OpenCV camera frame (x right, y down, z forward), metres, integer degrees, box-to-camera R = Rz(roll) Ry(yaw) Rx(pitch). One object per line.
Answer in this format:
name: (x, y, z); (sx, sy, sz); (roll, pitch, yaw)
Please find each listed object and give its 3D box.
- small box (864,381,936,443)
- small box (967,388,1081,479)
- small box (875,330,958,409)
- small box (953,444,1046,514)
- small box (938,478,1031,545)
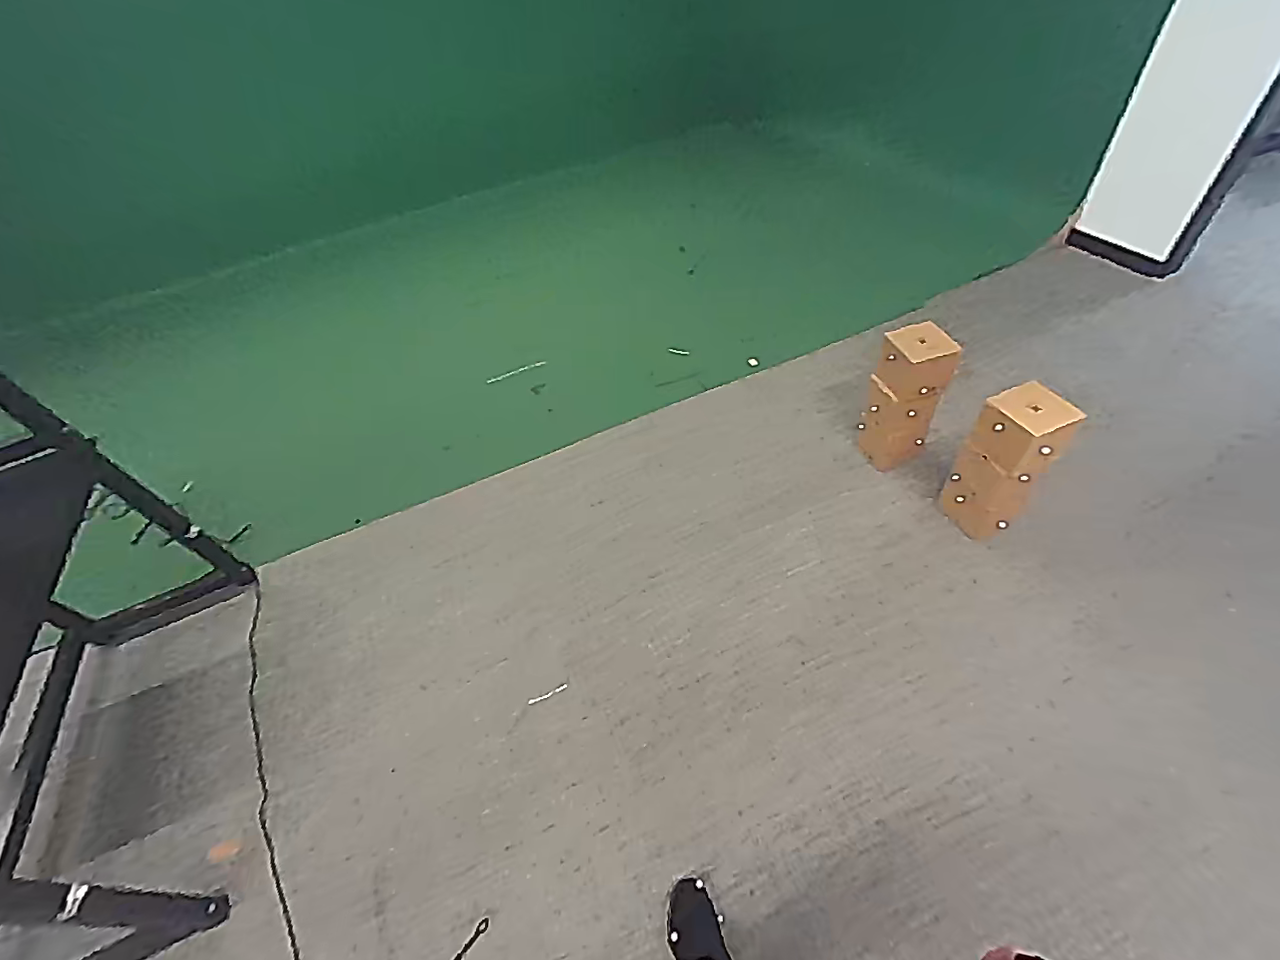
small box: (0.915, -0.258, 1.912); (0.179, 0.176, 0.168); (-18, 49, -4)
small box: (1.080, -0.125, 1.536); (0.168, 0.176, 0.179); (-21, 48, -8)
small box: (0.903, -0.364, 1.786); (0.168, 0.176, 0.179); (-15, 47, -2)
small box: (1.098, -0.023, 1.661); (0.179, 0.176, 0.168); (-20, 48, -8)
small box: (1.125, 0.082, 1.783); (0.168, 0.176, 0.179); (-22, 48, -8)
